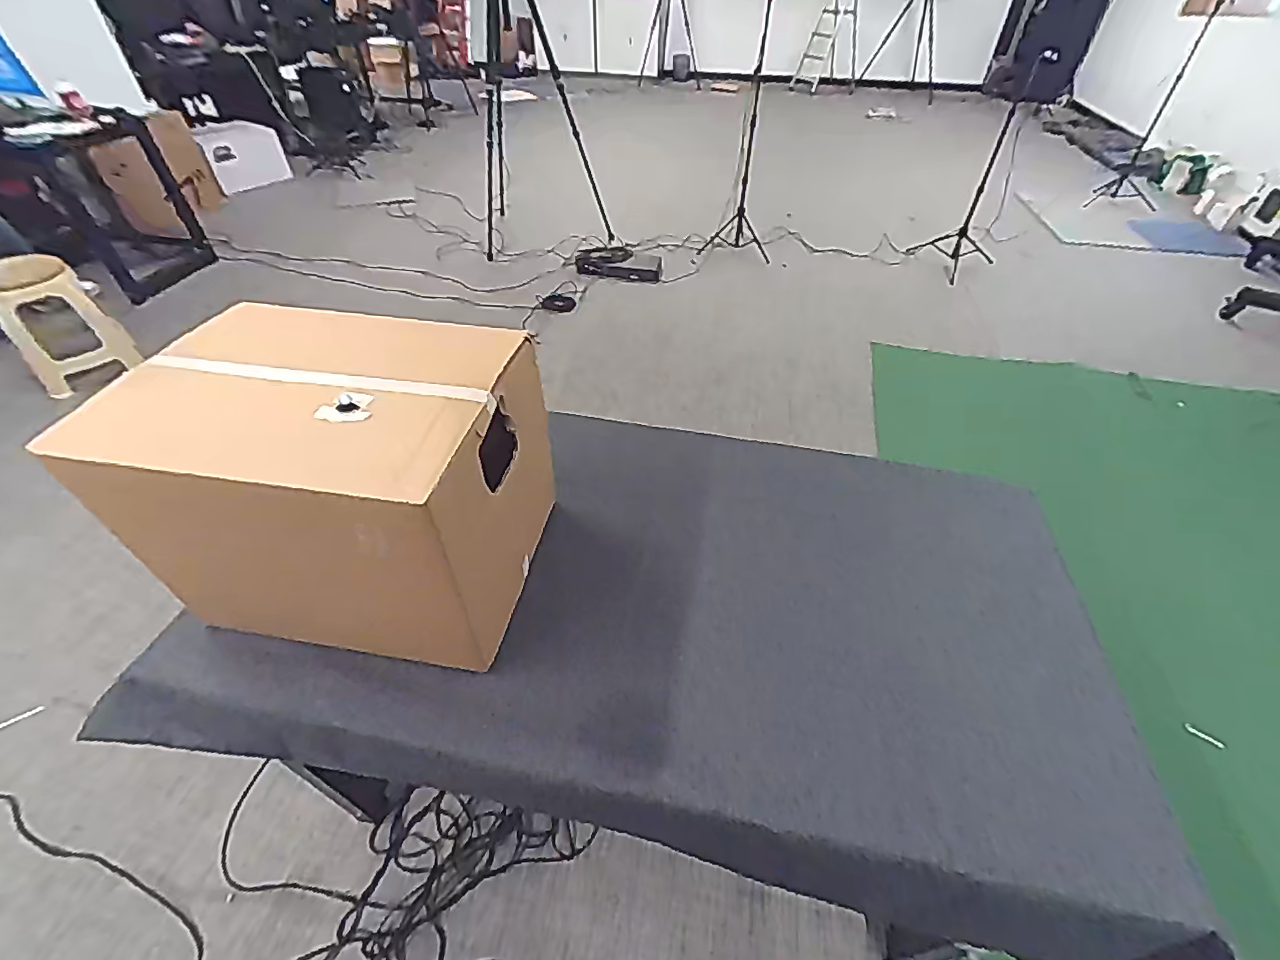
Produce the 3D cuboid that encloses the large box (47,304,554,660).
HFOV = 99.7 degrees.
[{"bbox_3d":[-0.353,-0.002,0.705,0.408,0.320,0.320,8,45,5],"label":"large box"}]
